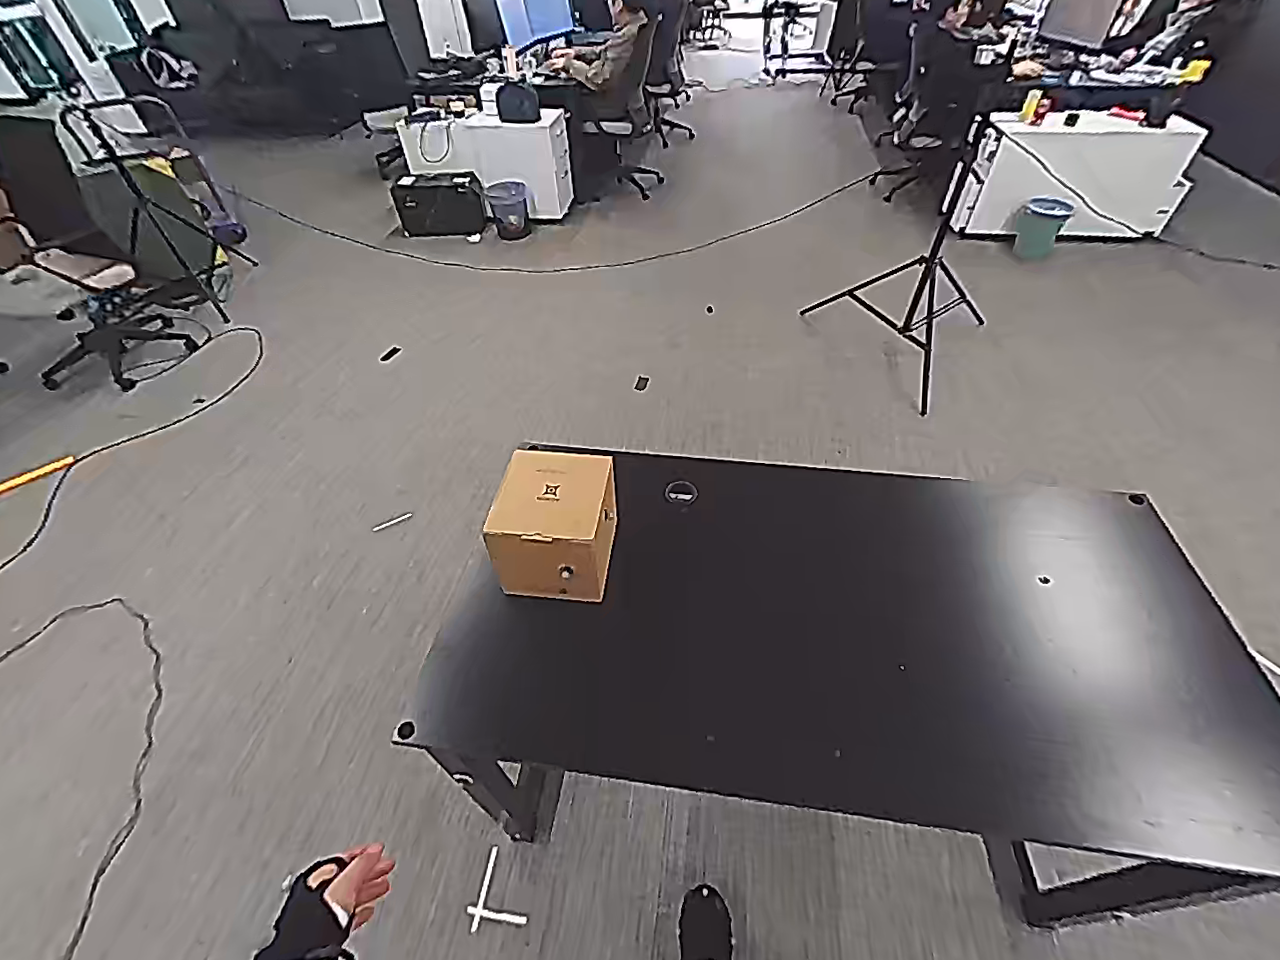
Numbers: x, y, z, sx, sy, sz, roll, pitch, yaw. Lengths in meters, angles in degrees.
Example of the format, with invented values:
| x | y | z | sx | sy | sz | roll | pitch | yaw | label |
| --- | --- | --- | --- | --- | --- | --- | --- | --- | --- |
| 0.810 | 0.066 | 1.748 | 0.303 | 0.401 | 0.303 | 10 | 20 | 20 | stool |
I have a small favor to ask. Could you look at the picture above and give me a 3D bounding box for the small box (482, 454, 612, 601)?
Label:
| x | y | z | sx | sy | sz | roll | pitch | yaw | label |
| --- | --- | --- | --- | --- | --- | --- | --- | --- | --- |
| -0.140 | 0.080 | 0.891 | 0.168 | 0.176 | 0.179 | 4 | 46 | 4 | small box |
